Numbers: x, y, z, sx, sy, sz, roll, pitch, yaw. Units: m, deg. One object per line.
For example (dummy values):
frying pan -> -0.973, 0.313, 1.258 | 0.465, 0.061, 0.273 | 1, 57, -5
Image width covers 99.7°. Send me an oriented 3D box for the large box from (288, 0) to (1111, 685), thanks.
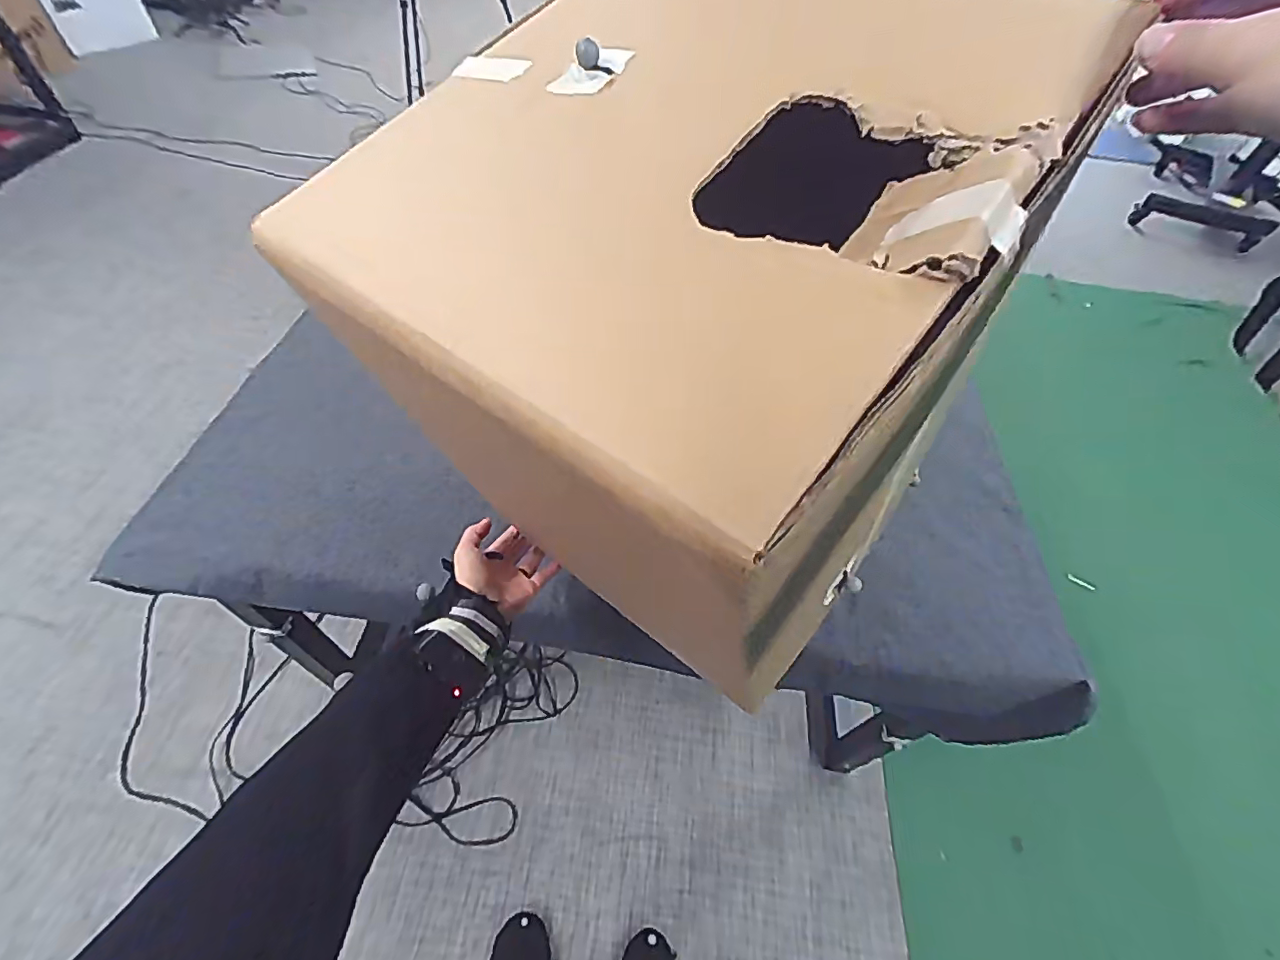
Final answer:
large box -> 0.044, -0.077, 0.439 | 0.320, 0.408, 0.320 | 34, 73, 24
